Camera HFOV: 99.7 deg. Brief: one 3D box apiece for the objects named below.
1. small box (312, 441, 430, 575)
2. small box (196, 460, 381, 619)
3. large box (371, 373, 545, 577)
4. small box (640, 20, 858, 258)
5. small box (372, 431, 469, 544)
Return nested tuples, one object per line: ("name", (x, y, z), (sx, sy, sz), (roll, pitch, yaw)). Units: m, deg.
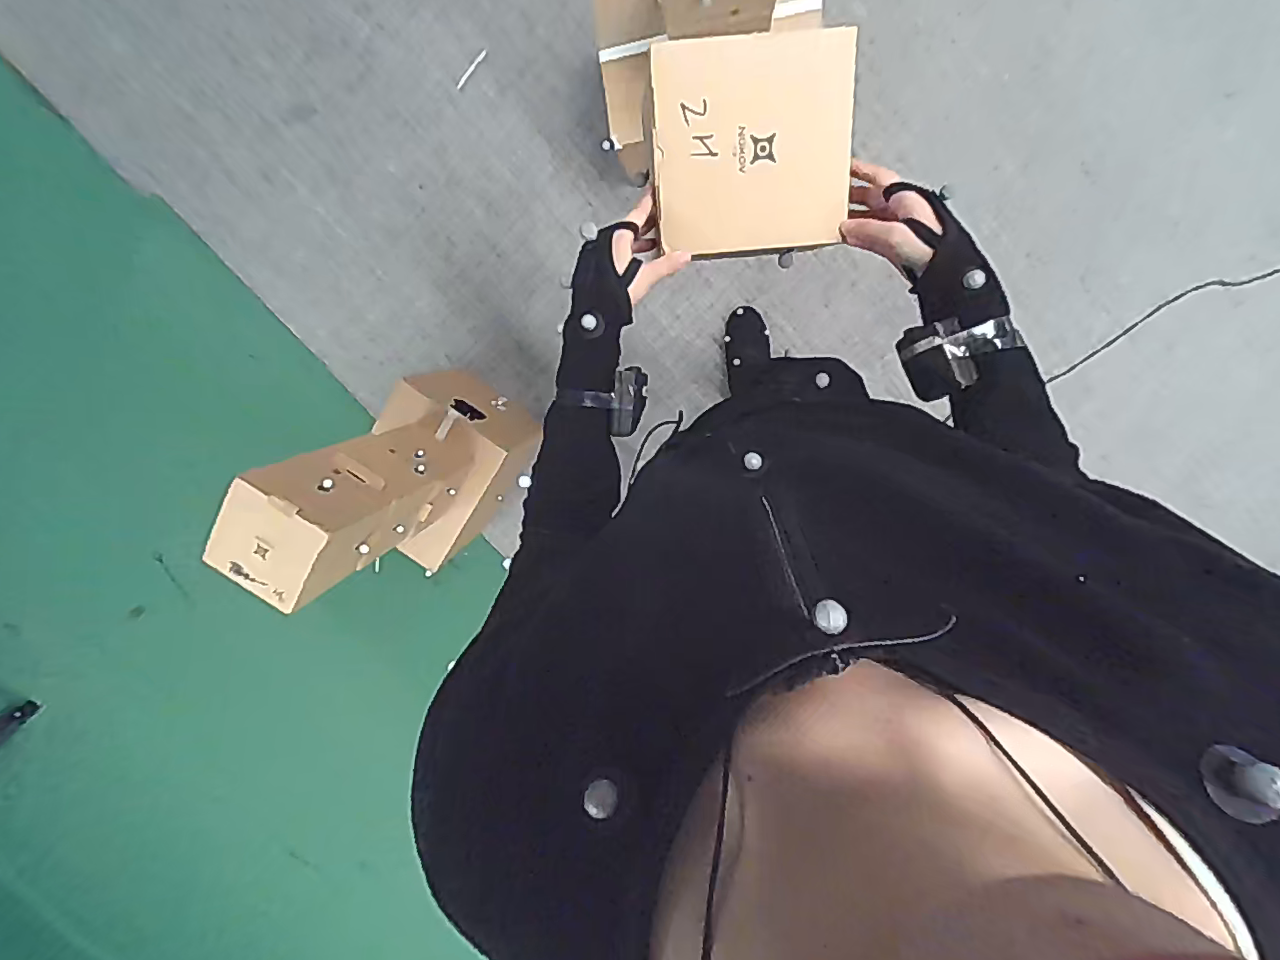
("small box", (-0.542, 0.044, 1.056), (0.168, 0.176, 0.179), (34, 107, -2))
("small box", (-0.569, 0.087, 0.899), (0.168, 0.176, 0.179), (35, 106, -2))
("large box", (-0.516, -0.030, 1.459), (0.320, 0.320, 0.408), (35, 108, 0))
("small box", (0.095, -0.320, 0.541), (0.179, 0.176, 0.168), (-5, 109, 0))
("small box", (-0.518, 0.007, 1.214), (0.179, 0.176, 0.168), (35, 107, -2))
